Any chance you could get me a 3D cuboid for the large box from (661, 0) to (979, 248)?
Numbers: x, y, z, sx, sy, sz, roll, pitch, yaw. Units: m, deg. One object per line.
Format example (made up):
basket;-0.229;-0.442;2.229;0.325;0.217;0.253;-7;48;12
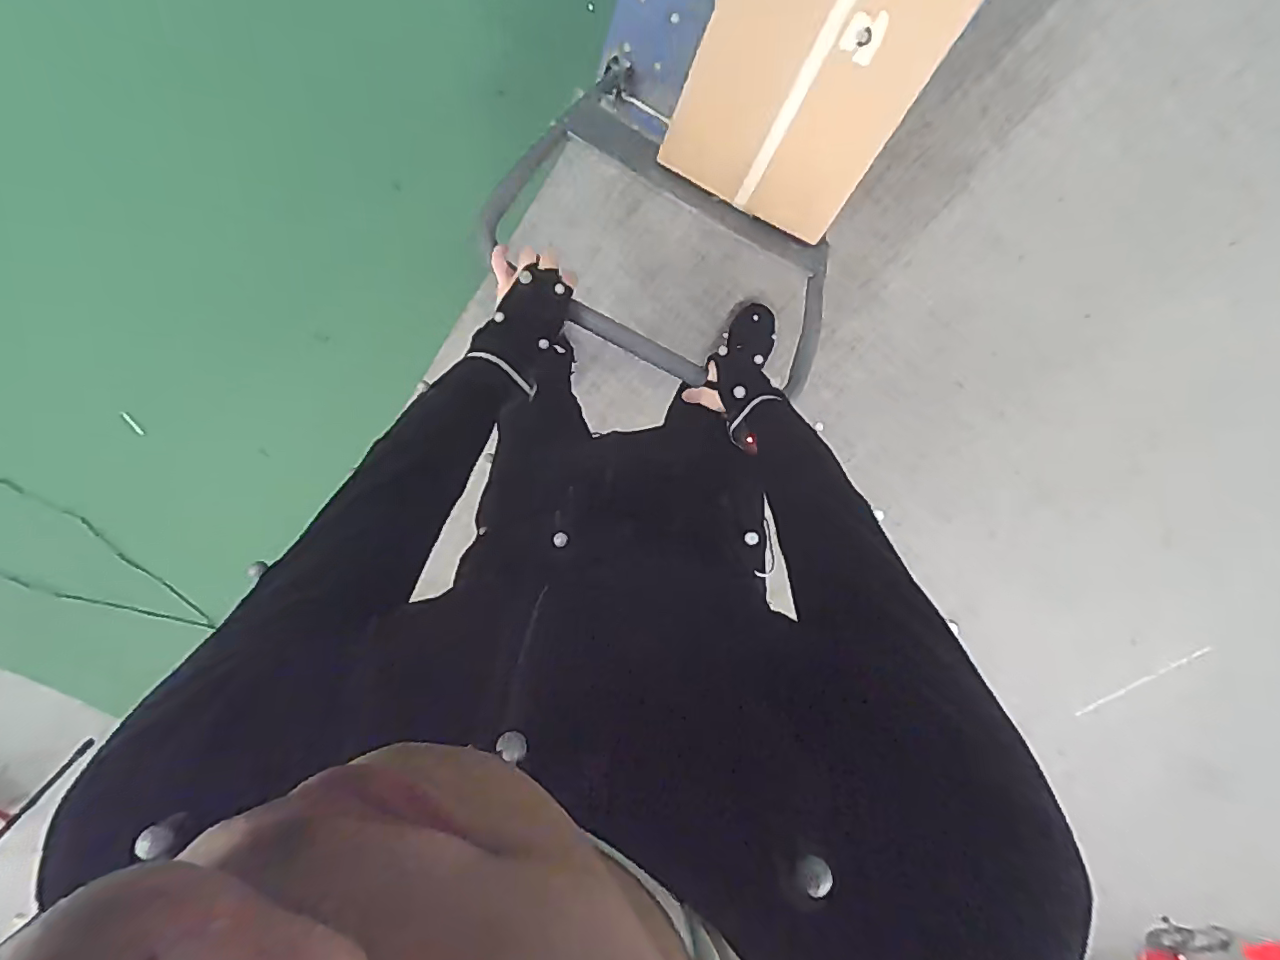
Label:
large box;0.276;-0.693;0.907;0.320;0.320;0.408;25;136;-8
